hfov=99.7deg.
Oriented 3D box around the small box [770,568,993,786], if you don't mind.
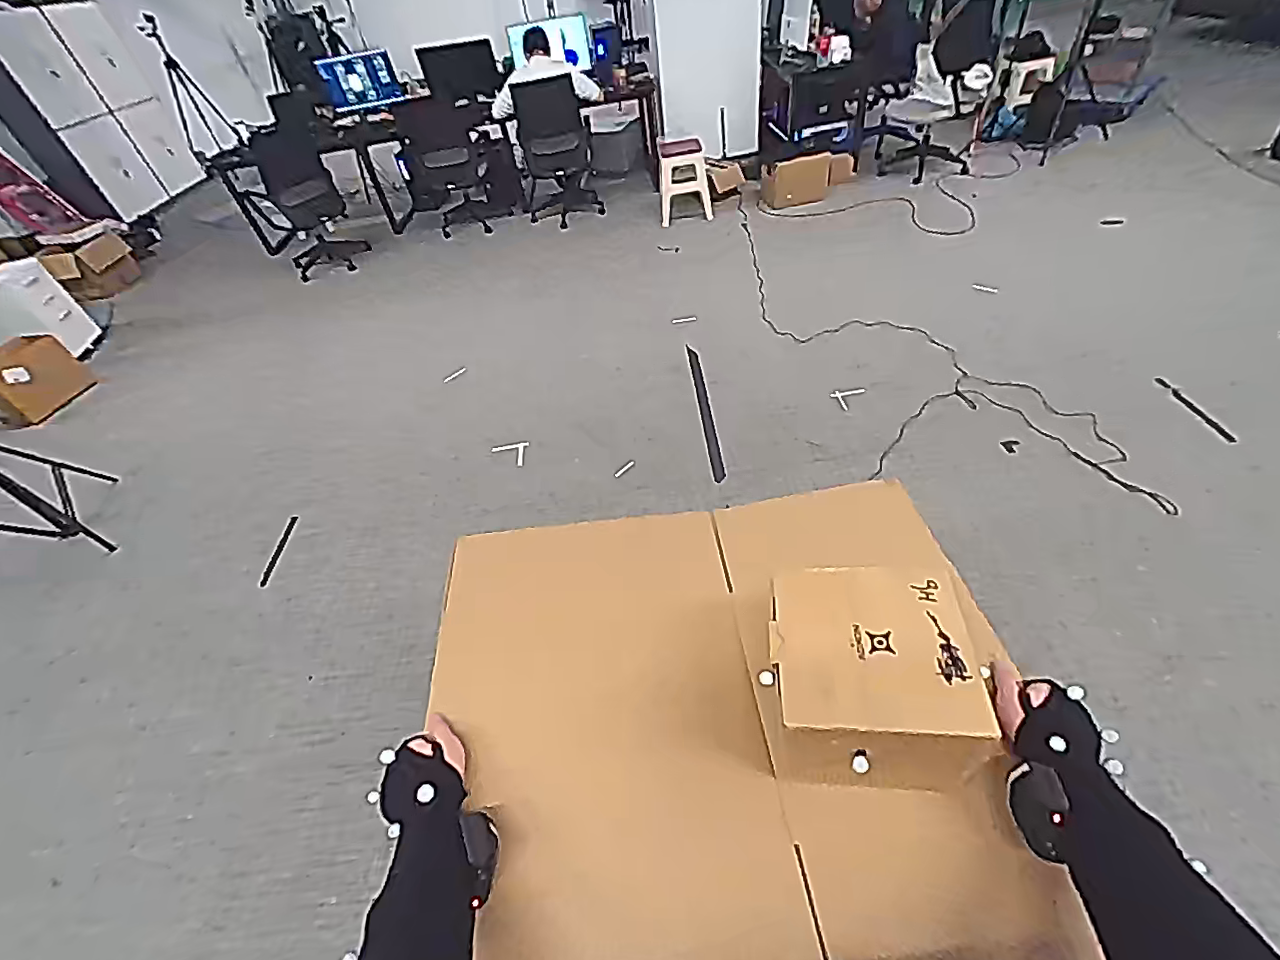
[{"bbox_3d":[0.236,0.210,0.574,0.179,0.176,0.168,-3,47,13],"label":"small box"}]
